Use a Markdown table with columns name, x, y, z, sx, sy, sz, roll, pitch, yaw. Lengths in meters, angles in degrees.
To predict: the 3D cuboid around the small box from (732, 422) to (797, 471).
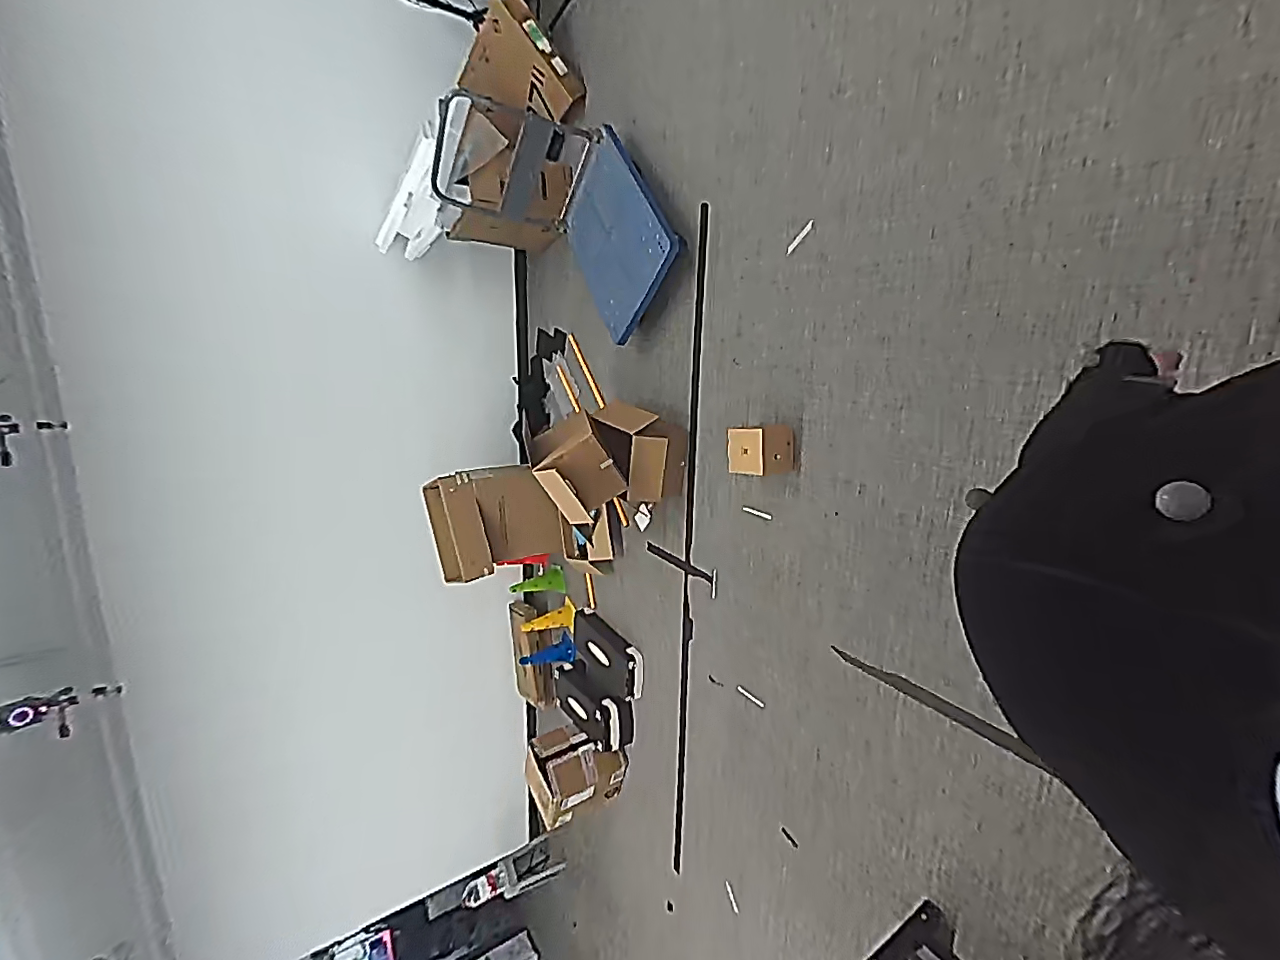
| name | x | y | z | sx | sy | sz | roll | pitch | yaw |
| --- | --- | --- | --- | --- | --- | --- | --- | --- | --- |
| small box | 0.460 | -0.128 | 1.987 | 0.179 | 0.176 | 0.168 | 8 | 103 | 57 |
